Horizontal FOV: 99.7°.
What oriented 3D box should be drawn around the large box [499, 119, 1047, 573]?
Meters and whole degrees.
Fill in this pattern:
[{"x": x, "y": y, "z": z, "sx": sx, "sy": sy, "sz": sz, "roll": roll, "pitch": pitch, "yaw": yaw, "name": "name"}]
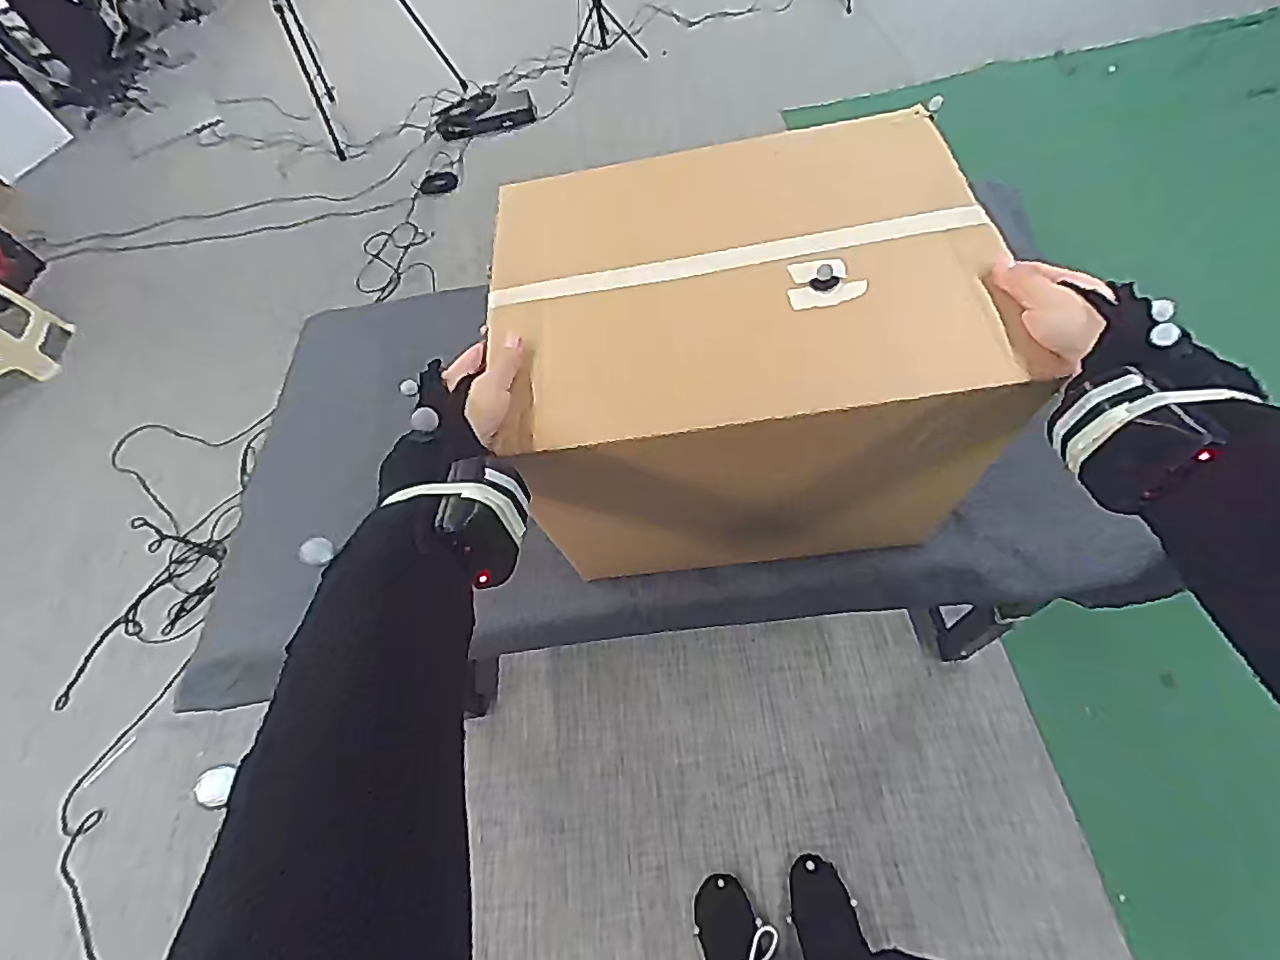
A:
[{"x": 0.094, "y": -0.113, "z": 0.588, "sx": 0.408, "sy": 0.320, "sz": 0.320, "roll": -8, "pitch": 63, "yaw": 5, "name": "large box"}]
